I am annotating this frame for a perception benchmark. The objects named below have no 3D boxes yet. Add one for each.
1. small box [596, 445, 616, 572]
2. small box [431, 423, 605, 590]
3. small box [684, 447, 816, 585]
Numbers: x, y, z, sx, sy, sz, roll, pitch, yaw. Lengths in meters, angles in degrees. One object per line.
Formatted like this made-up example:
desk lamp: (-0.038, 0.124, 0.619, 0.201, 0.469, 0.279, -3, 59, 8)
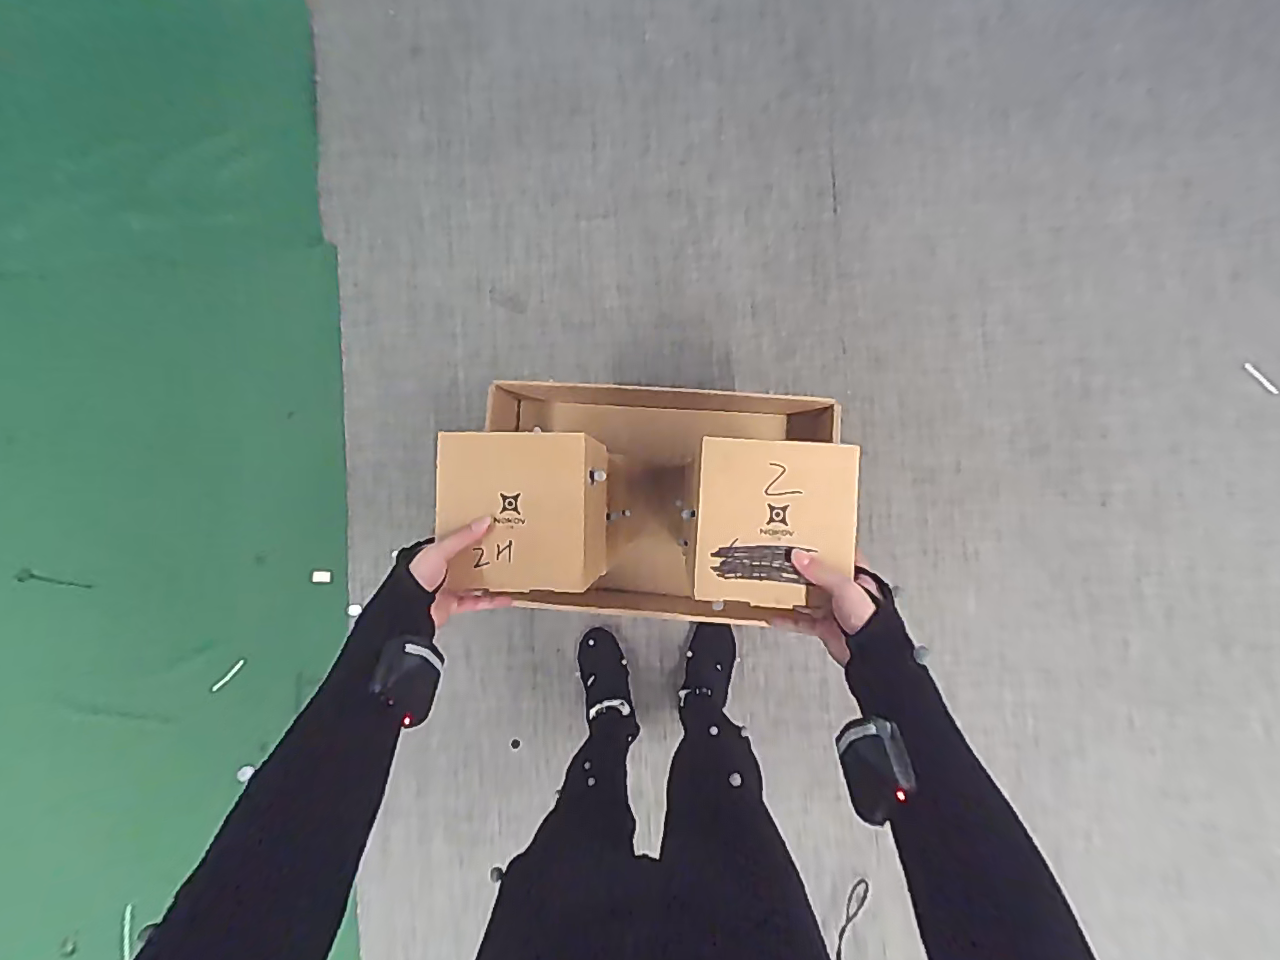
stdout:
small box: (-0.127, 0.042, 0.823, 0.168, 0.176, 0.179, 0, 87, 3)
small box: (-0.136, 0.031, 0.658, 0.168, 0.176, 0.179, 1, 88, 4)
small box: (0.152, 0.051, 0.798, 0.168, 0.176, 0.179, 3, 87, 3)
